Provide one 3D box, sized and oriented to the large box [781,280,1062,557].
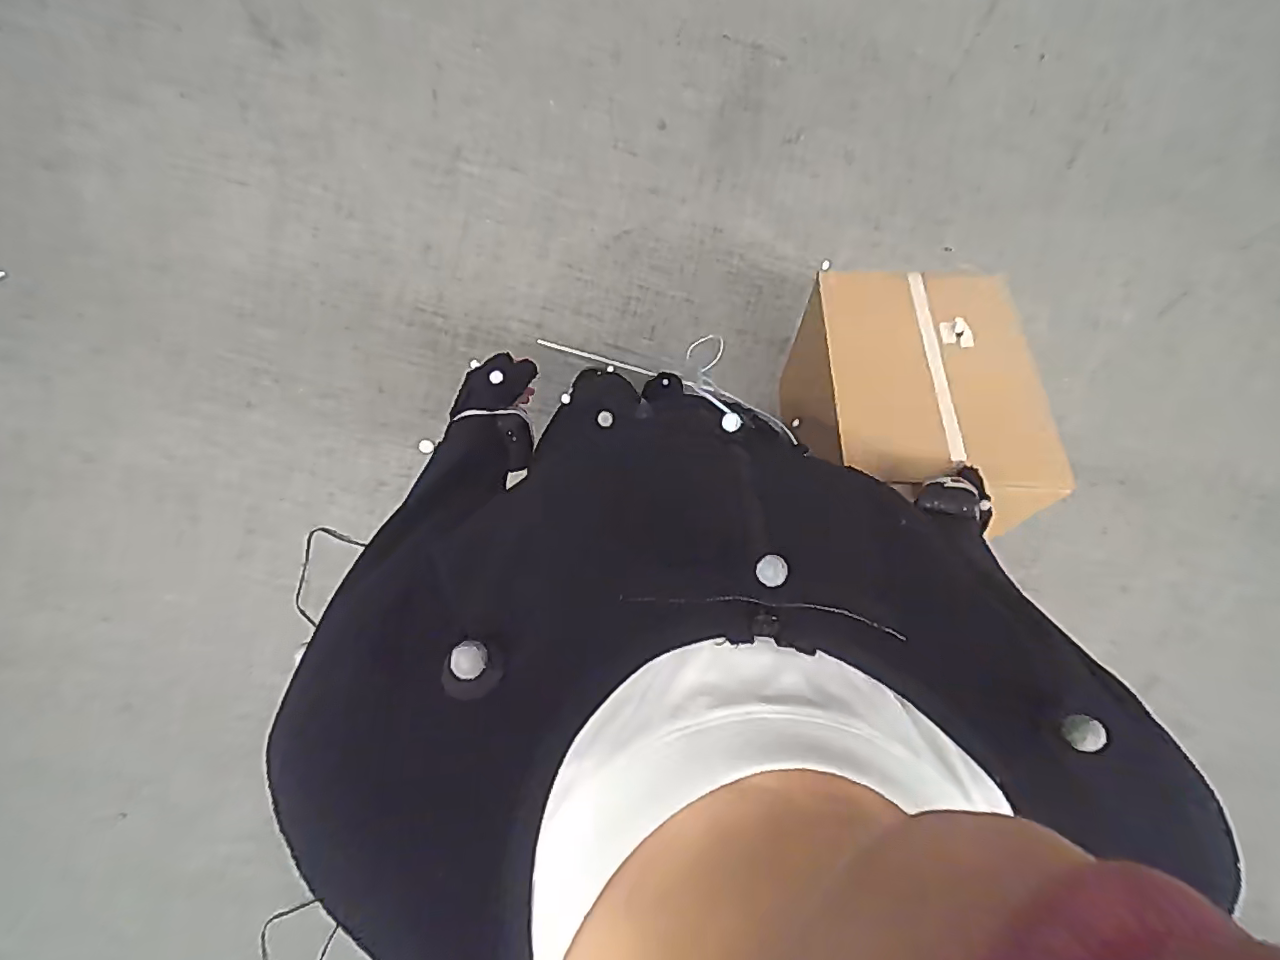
[{"bbox_3d":[0.451,-0.096,0.979,0.320,0.320,0.408,2,63,2],"label":"large box"}]
